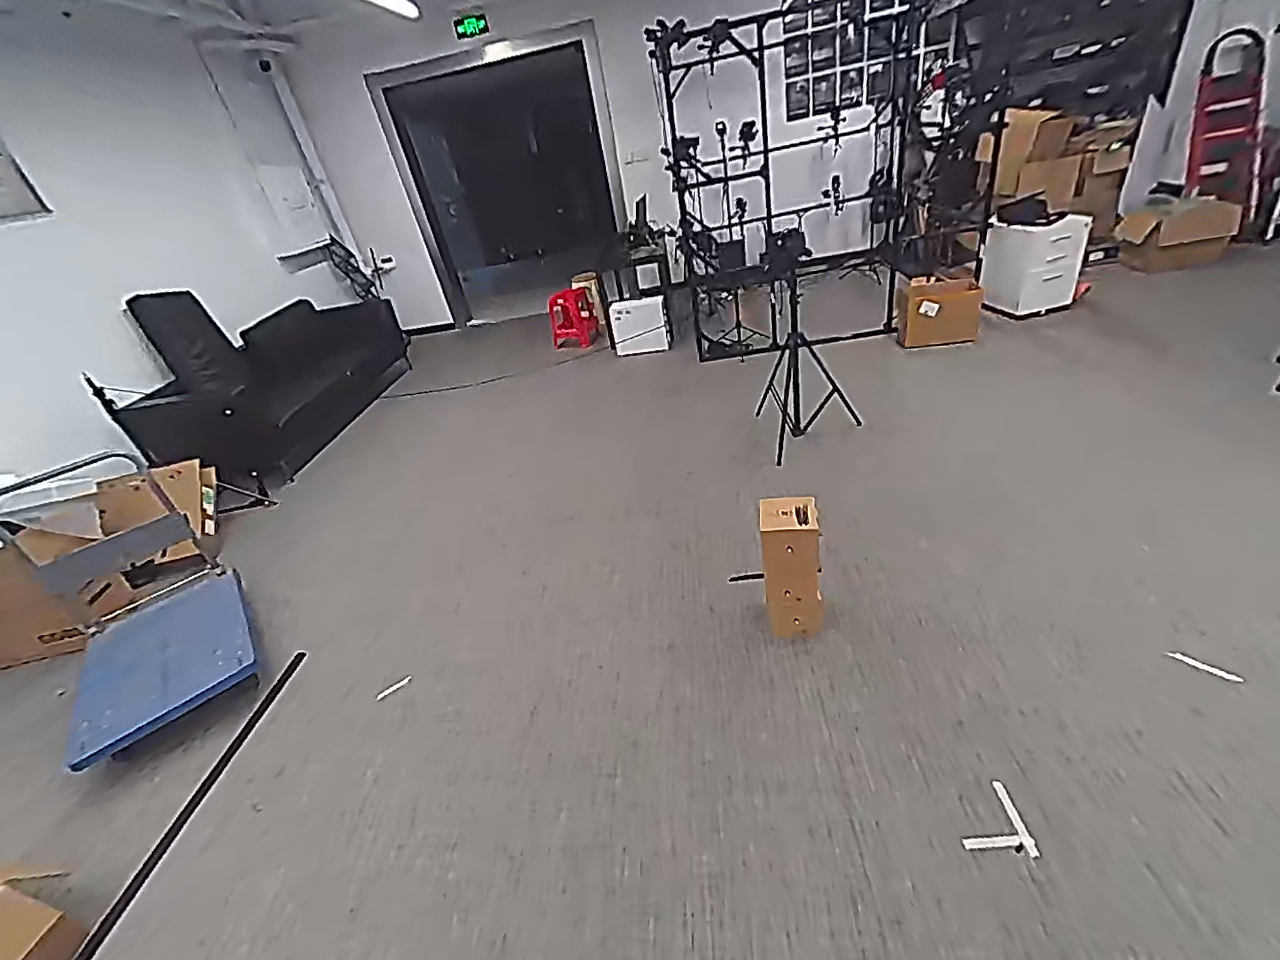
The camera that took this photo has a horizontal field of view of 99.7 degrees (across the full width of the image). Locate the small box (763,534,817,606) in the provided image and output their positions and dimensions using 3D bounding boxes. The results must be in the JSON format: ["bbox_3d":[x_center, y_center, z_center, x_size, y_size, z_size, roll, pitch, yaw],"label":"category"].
[{"bbox_3d":[0.508,0.305,1.839,0.168,0.176,0.179,-5,33,13],"label":"small box"}]

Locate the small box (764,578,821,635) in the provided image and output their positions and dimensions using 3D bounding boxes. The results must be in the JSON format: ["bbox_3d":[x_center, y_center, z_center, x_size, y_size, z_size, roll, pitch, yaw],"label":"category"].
[{"bbox_3d":[0.543,0.438,1.927,0.168,0.176,0.179,-8,31,7],"label":"small box"}]
